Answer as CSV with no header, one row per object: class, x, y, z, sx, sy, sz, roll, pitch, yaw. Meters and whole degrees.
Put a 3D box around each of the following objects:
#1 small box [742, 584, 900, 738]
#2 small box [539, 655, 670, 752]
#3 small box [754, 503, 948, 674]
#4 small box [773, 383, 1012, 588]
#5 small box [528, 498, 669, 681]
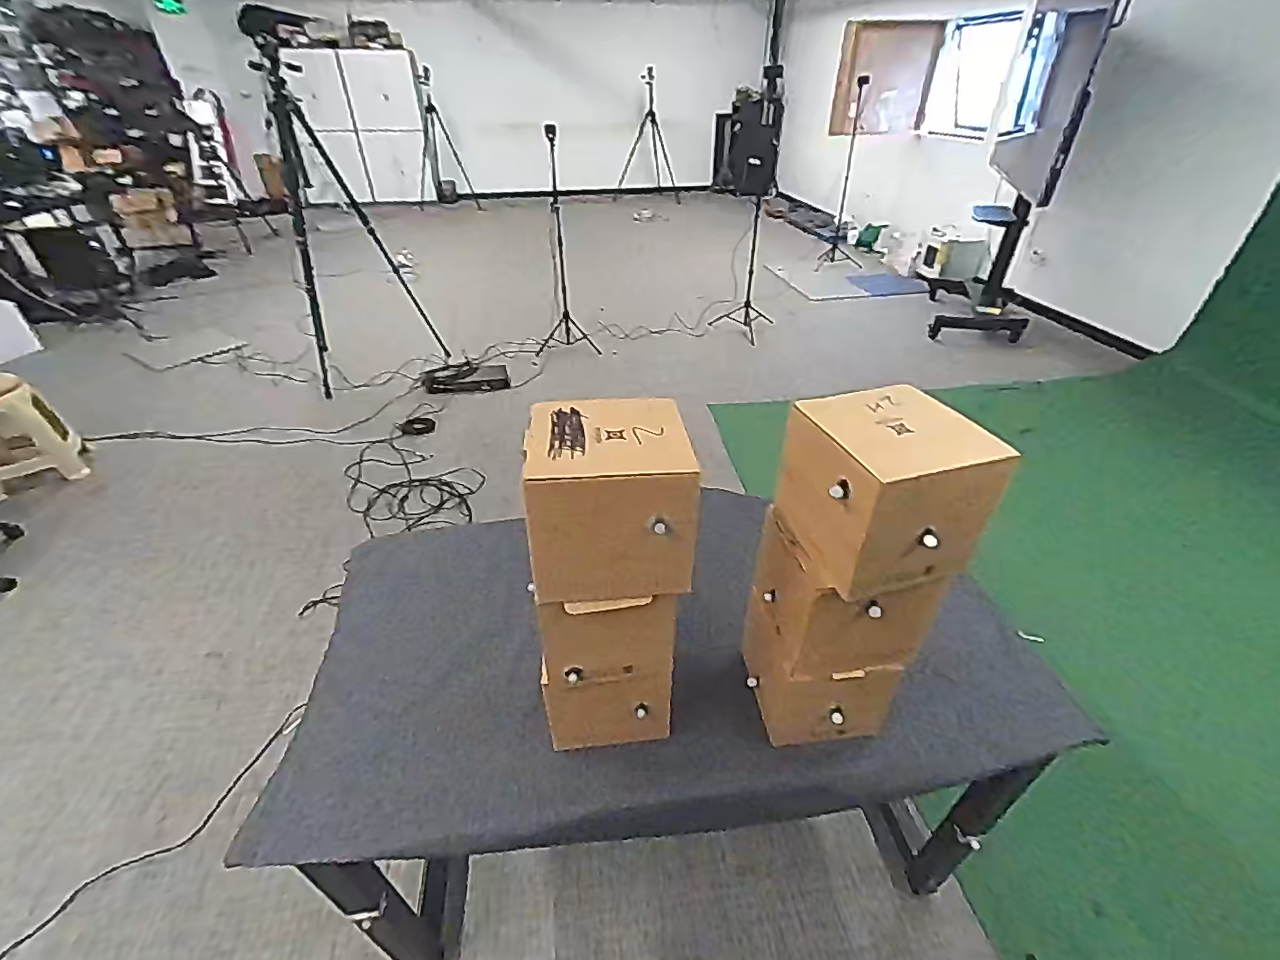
small box,0.261,0.272,0.827,0.168,0.176,0.179,-5,36,-5
small box,-0.054,0.285,0.821,0.179,0.176,0.168,-6,35,-5
small box,0.268,0.138,0.734,0.179,0.176,0.168,-6,35,-6
small box,0.274,0.007,0.633,0.168,0.176,0.179,-11,36,-13
small box,-0.057,0.149,0.728,0.168,0.176,0.179,-6,34,-8
